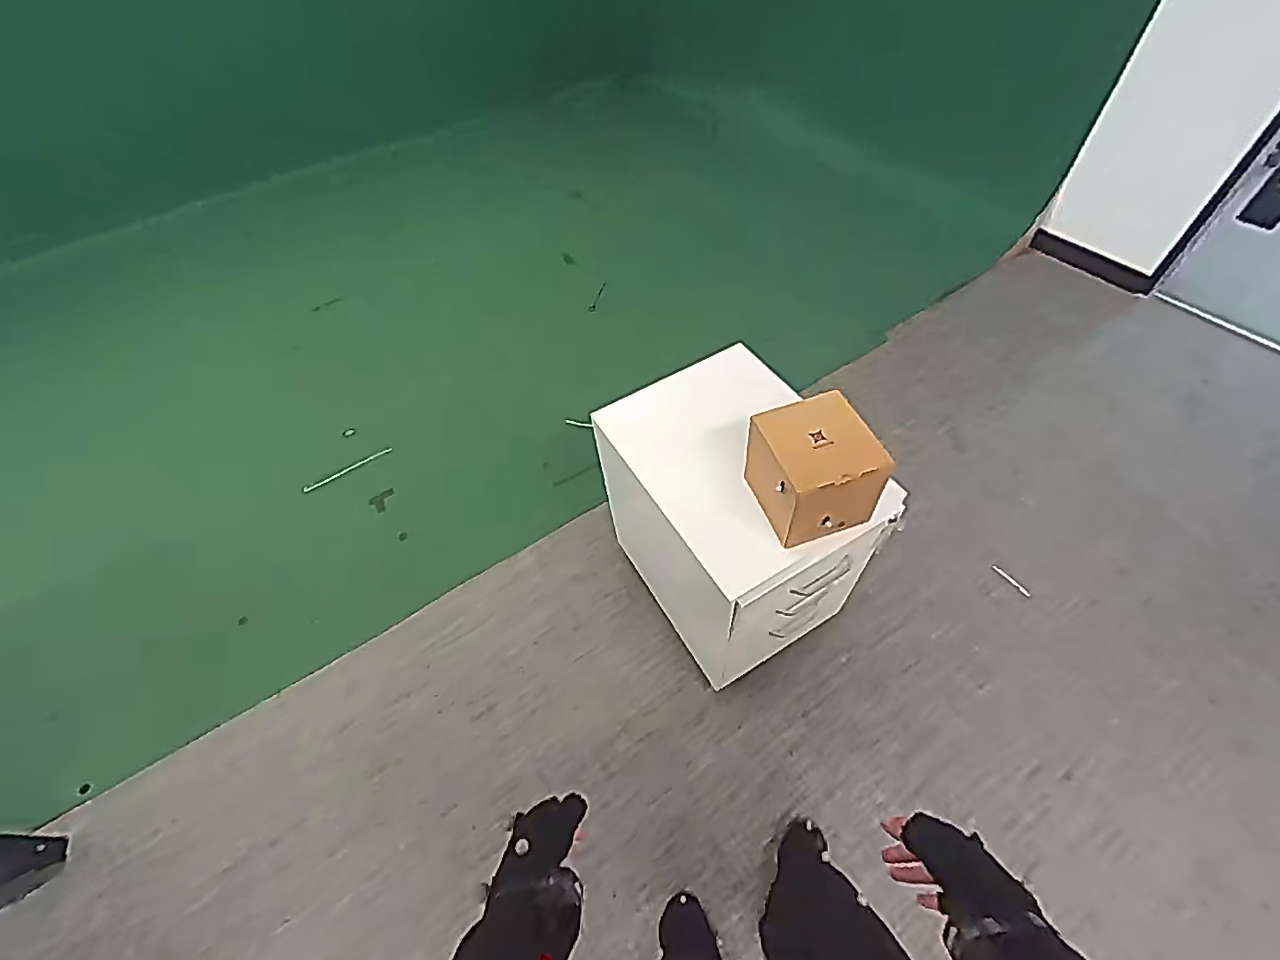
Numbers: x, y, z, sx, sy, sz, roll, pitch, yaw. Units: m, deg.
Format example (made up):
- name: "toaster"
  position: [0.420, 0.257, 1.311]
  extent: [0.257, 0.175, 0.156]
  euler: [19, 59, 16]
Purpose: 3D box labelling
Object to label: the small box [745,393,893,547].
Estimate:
- name: "small box"
  position: [0.291, -0.014, 0.929]
  extent: [0.168, 0.176, 0.179]
  euler: [-17, 54, -7]
